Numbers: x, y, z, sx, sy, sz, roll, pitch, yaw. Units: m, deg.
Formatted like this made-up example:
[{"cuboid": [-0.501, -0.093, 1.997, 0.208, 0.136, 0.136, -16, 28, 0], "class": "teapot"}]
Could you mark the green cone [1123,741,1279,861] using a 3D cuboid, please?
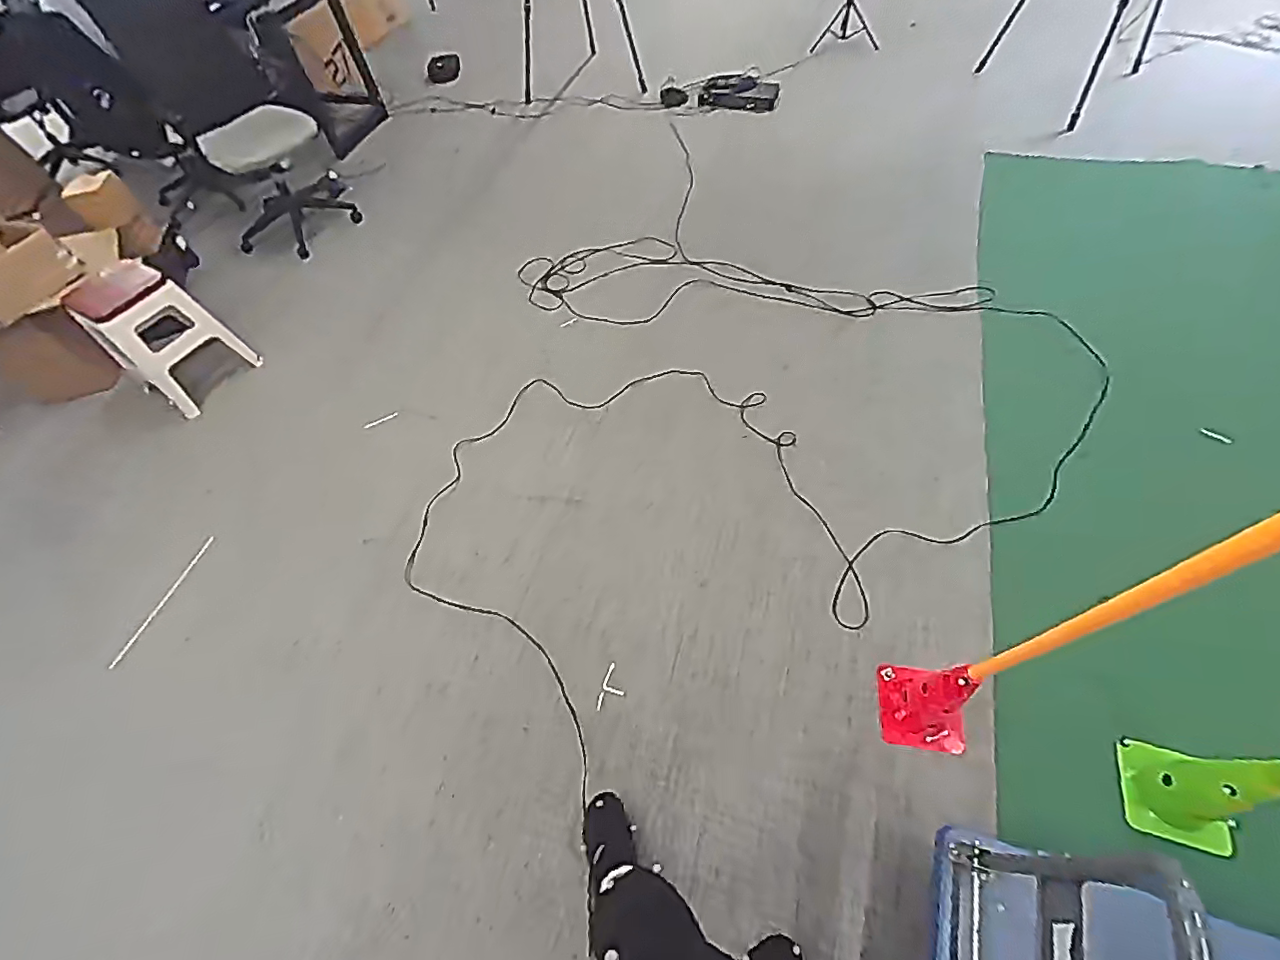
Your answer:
[{"cuboid": [1.215, 0.628, 1.092, 0.202, 0.368, 0.200, 13, 58, 14], "class": "green cone"}]
